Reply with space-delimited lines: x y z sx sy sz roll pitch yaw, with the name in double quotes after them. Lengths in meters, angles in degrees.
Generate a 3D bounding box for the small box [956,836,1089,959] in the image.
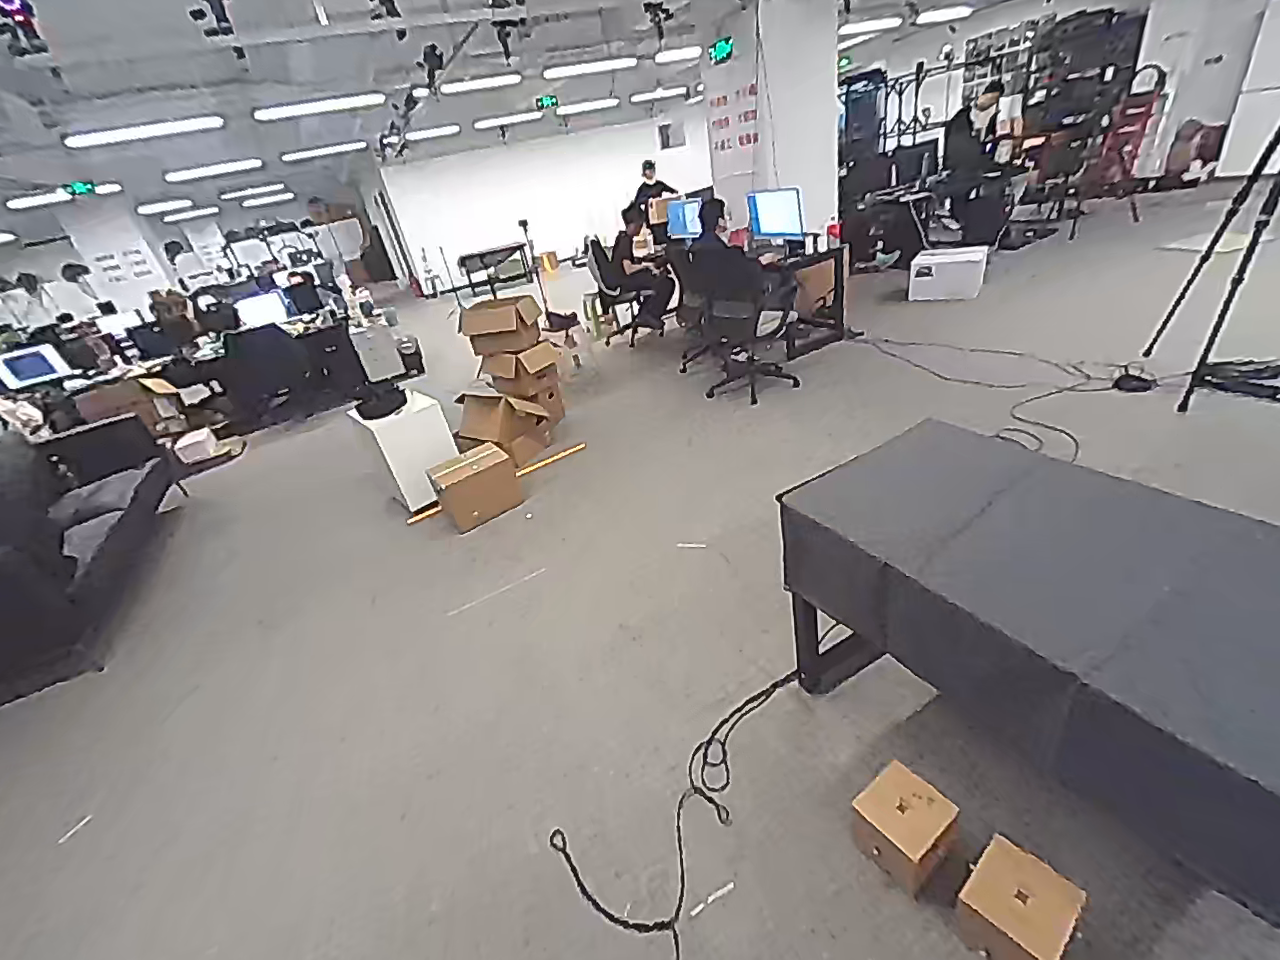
0.774 0.897 1.109 0.179 0.176 0.168 -29 34 -29 "small box"
